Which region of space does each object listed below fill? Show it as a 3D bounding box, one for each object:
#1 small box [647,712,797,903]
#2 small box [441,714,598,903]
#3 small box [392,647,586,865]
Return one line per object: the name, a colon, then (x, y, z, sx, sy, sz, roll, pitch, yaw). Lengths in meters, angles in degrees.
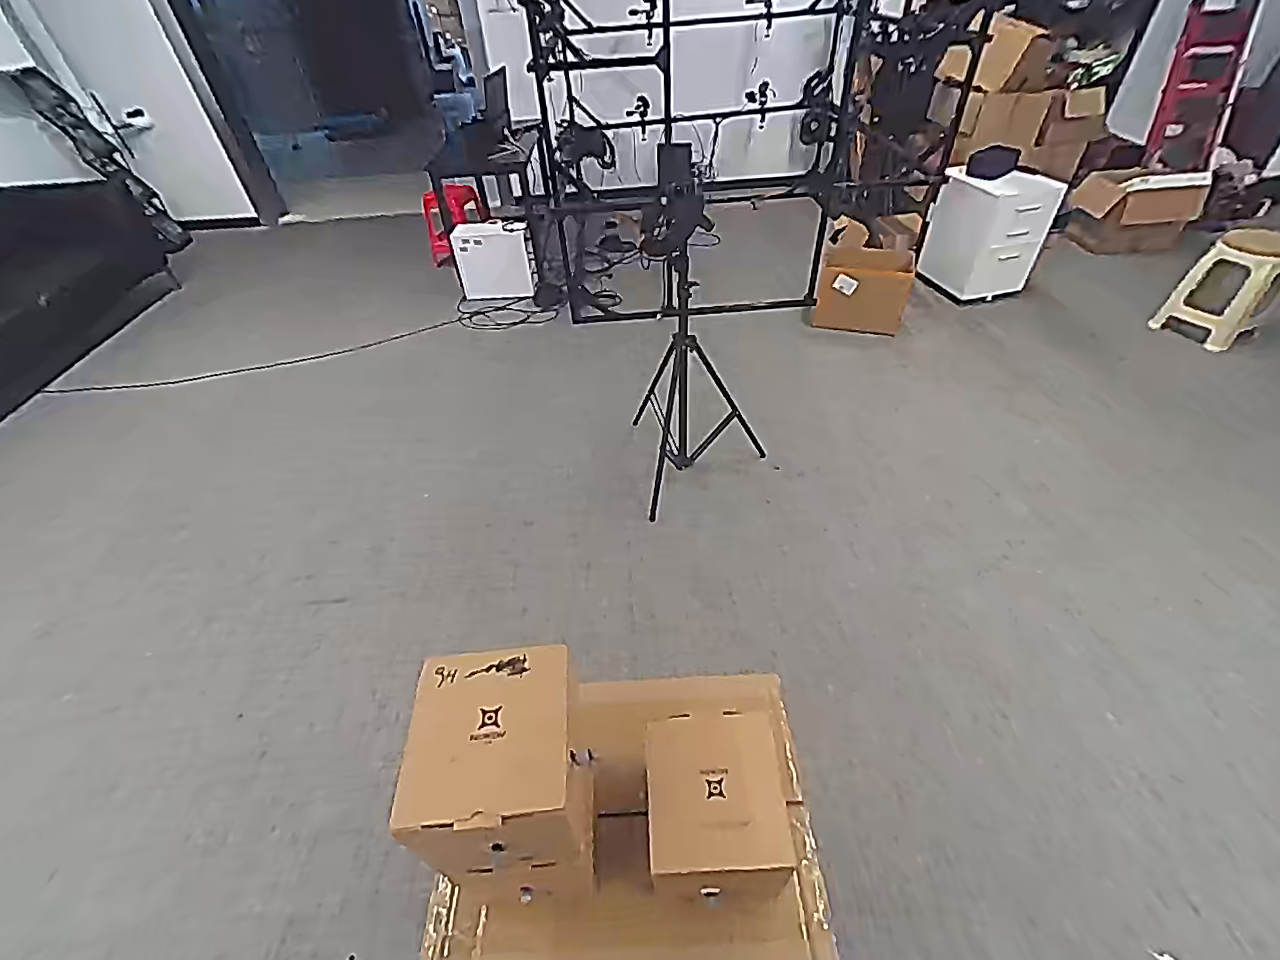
small box: (0.097, 0.433, 0.717, 0.168, 0.176, 0.179, -6, 44, 2)
small box: (-0.147, 0.440, 0.727, 0.168, 0.176, 0.179, -4, 43, -1)
small box: (-0.153, 0.317, 0.617, 0.168, 0.176, 0.179, -5, 44, -2)
